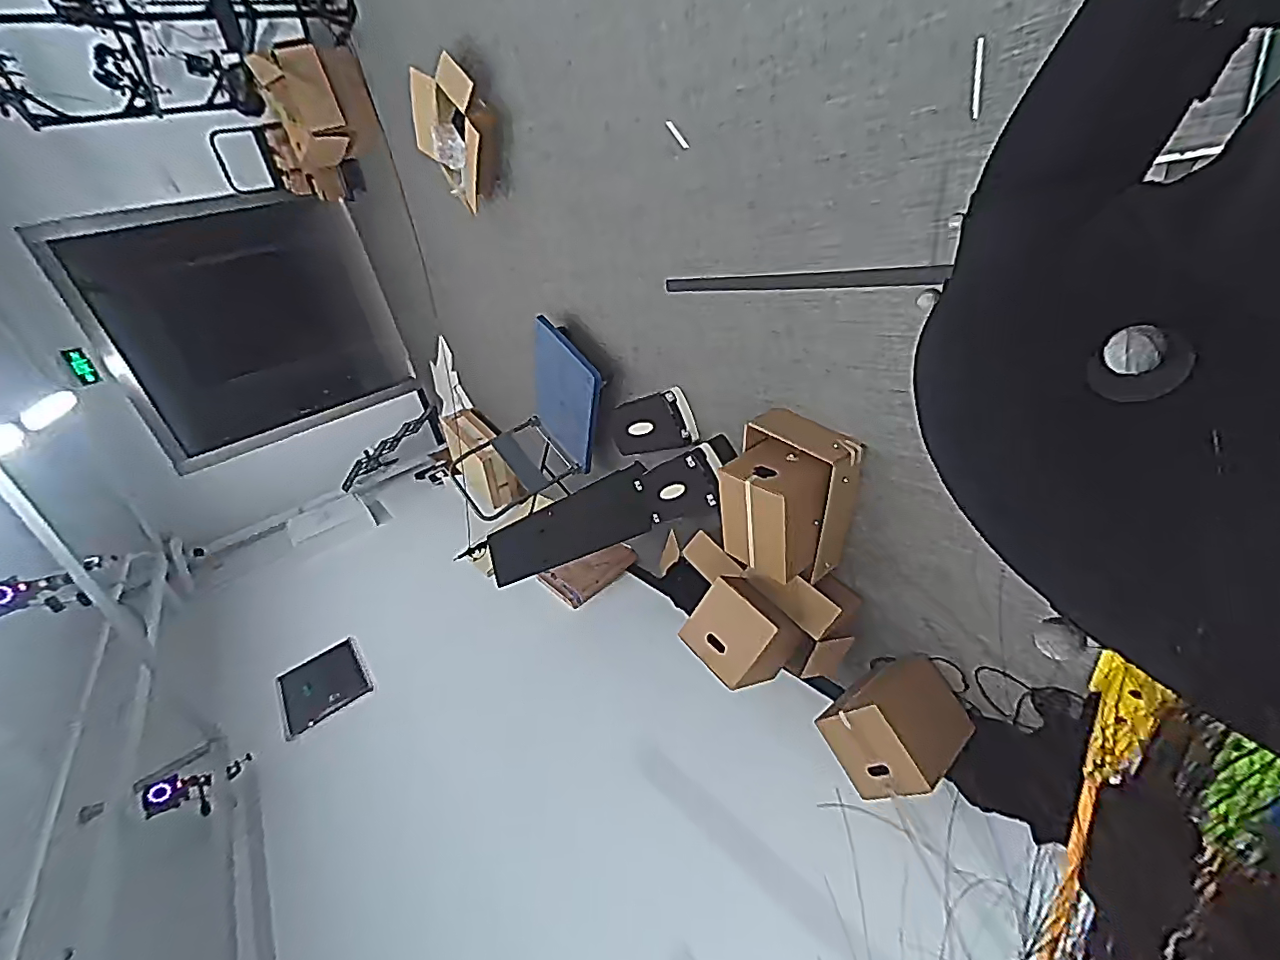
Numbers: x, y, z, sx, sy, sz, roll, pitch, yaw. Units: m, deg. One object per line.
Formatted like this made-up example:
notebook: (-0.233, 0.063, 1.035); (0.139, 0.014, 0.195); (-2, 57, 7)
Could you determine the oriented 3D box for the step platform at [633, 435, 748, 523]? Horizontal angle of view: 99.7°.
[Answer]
step platform: (0.223, 0.016, 2.686); (0.286, 0.204, 0.684); (61, 151, -1)
